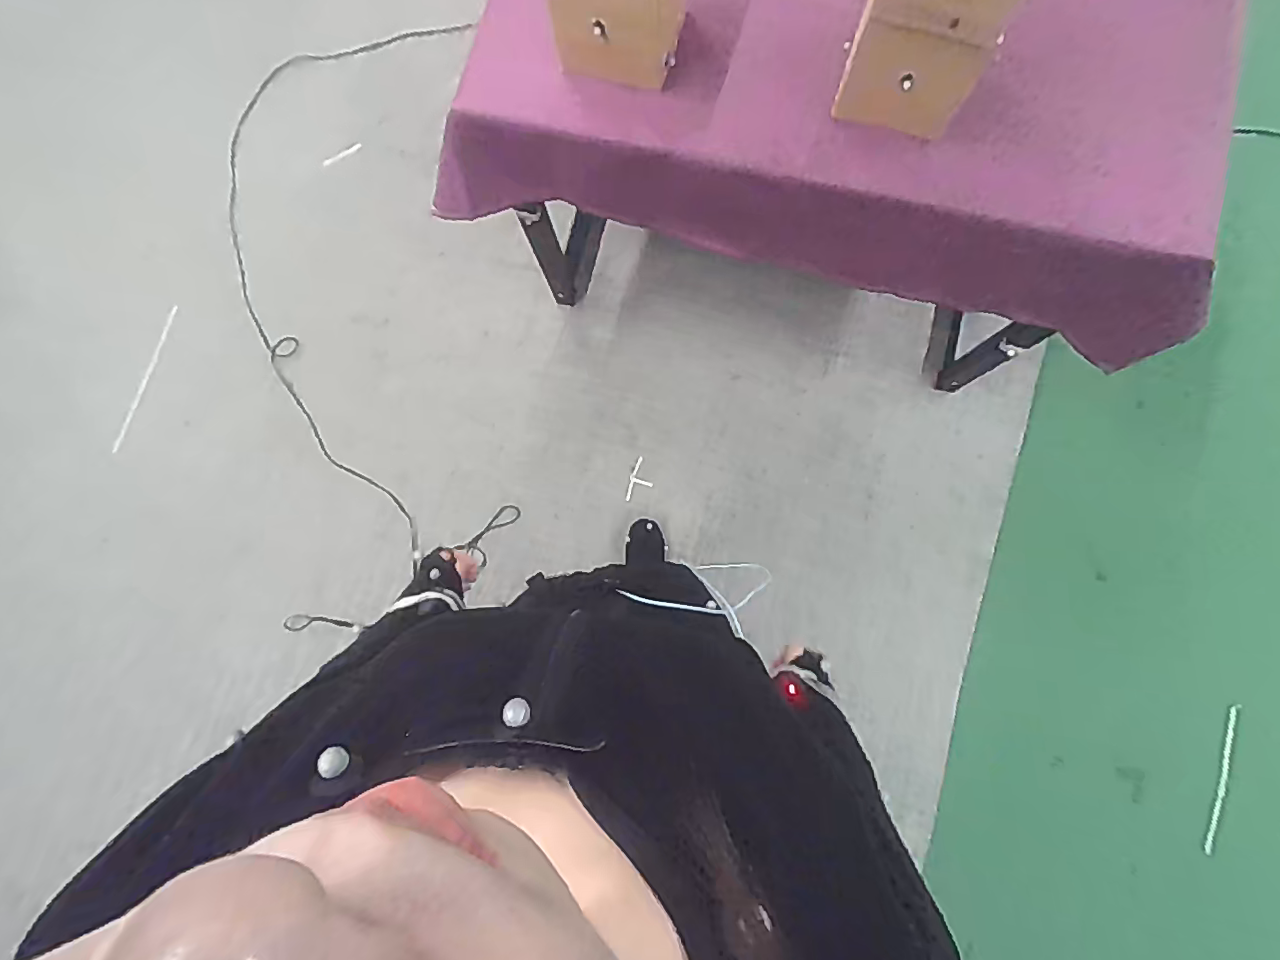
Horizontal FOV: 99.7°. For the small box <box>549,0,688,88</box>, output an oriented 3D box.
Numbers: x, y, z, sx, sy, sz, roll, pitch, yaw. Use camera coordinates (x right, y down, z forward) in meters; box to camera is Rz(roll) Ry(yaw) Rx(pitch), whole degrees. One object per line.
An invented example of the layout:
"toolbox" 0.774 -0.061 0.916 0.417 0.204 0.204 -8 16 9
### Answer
"small box" -0.026 -0.744 0.819 0.179 0.176 0.168 16 83 5
